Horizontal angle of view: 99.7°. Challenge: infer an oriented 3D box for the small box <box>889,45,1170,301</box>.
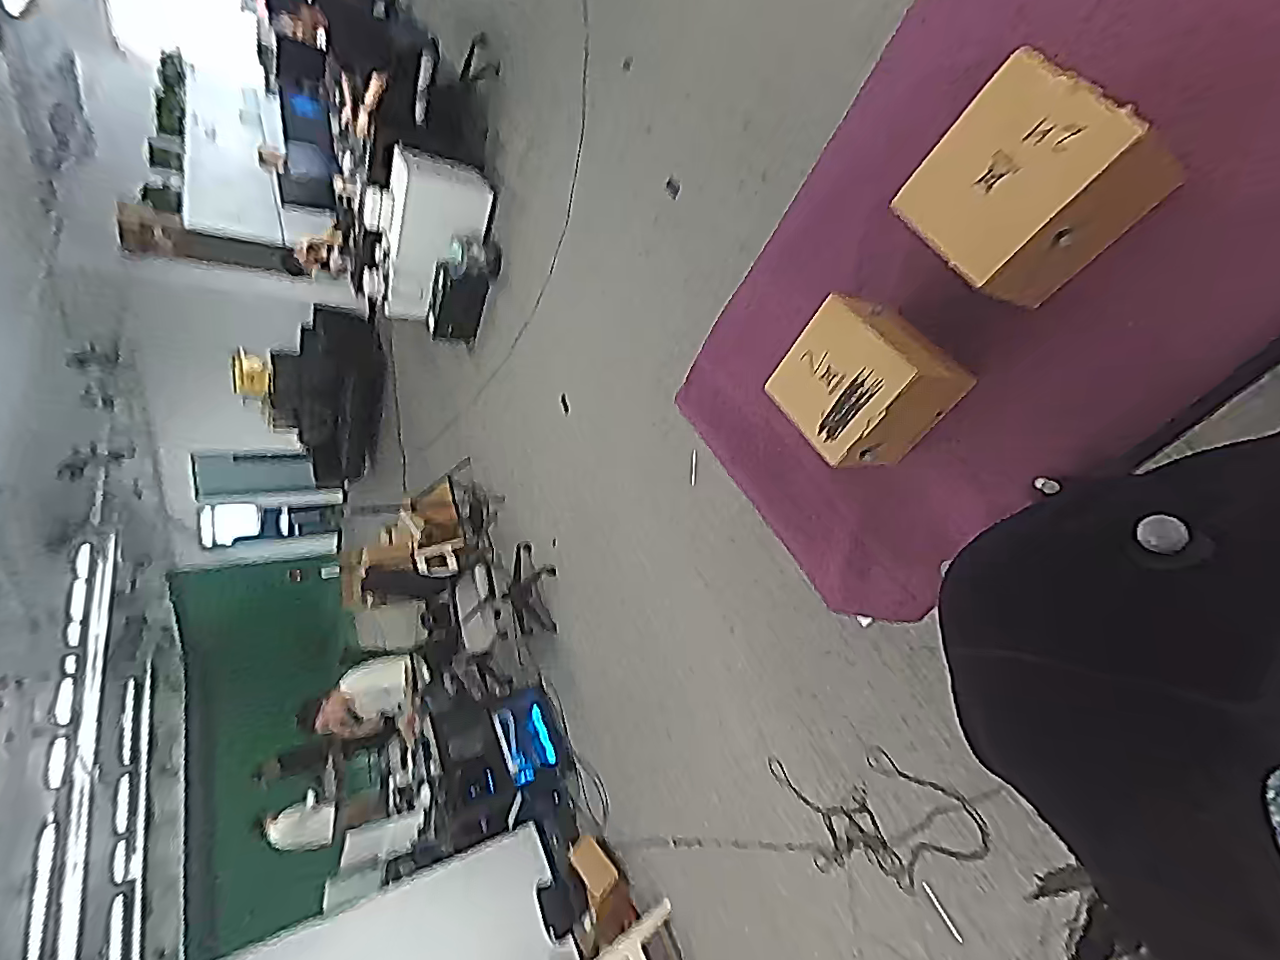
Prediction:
[{"bbox_3d":[0.436,-0.329,0.615,0.179,0.176,0.168,-52,54,42],"label":"small box"}]
